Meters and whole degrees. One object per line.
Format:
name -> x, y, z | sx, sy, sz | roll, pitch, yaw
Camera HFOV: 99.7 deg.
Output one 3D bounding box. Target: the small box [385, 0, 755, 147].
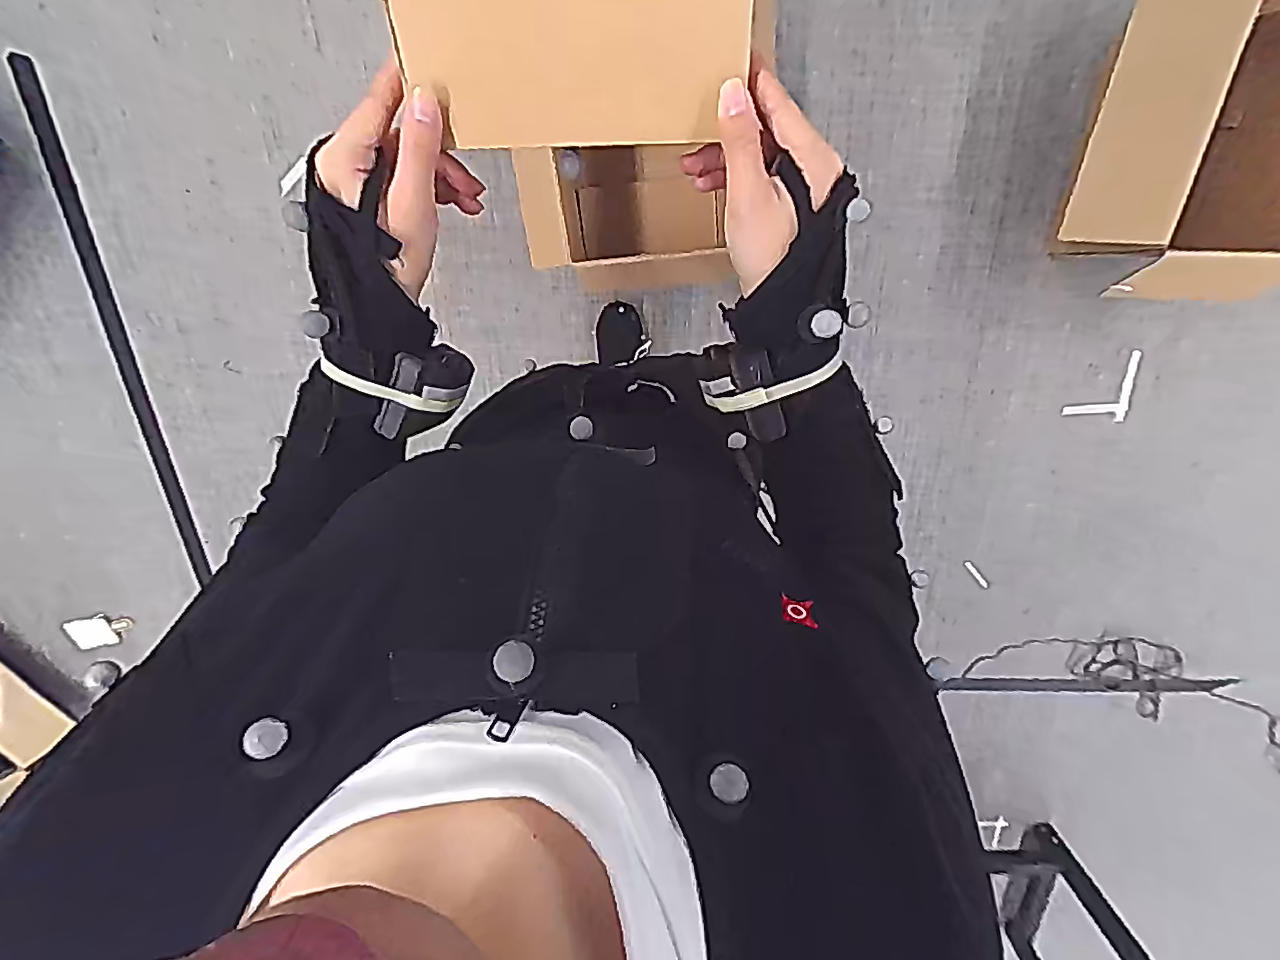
small box -> -0.036, -0.290, 0.307 | 0.179, 0.176, 0.168 | -2, 123, -1
